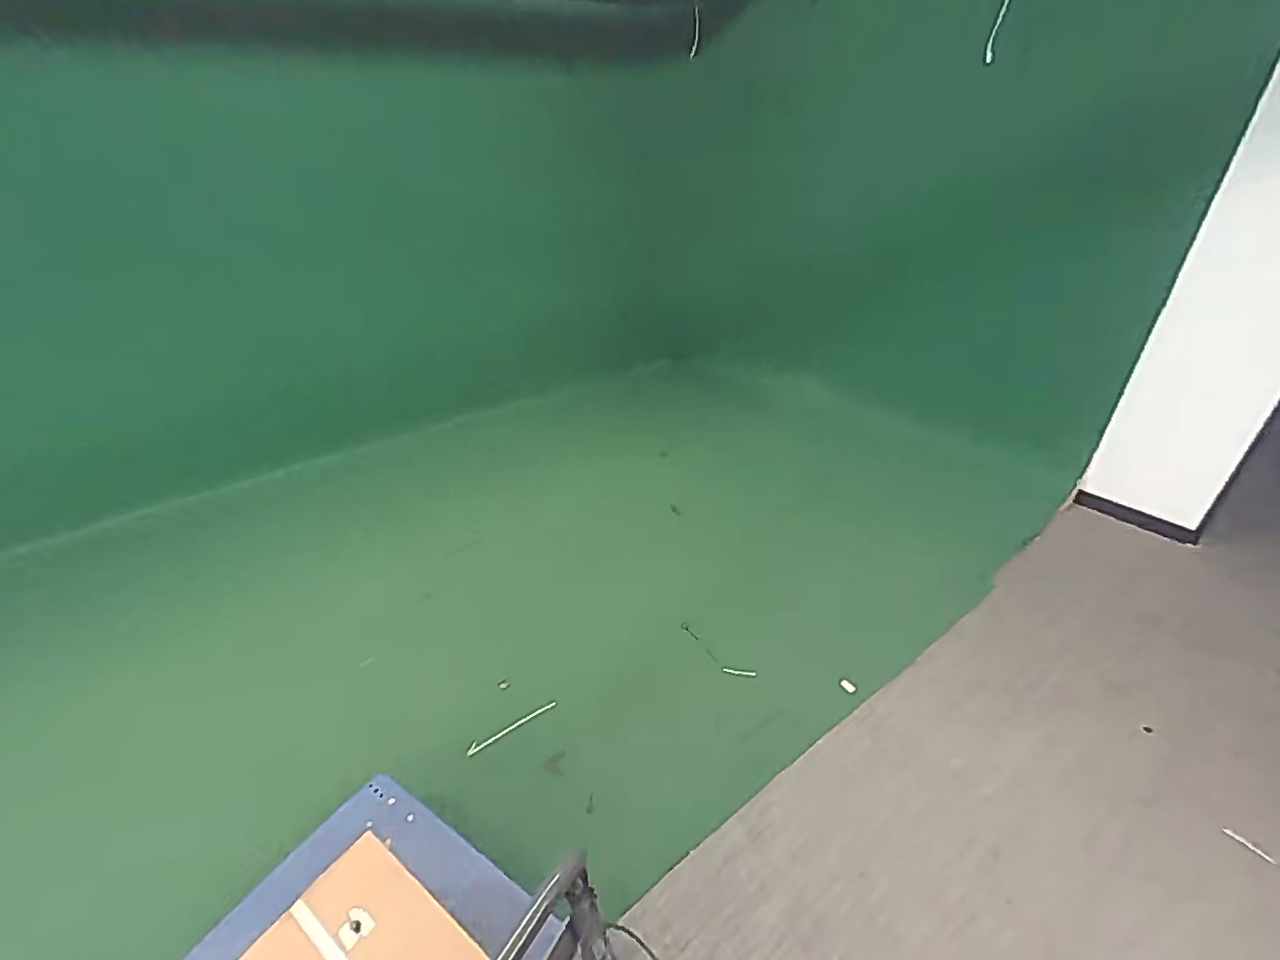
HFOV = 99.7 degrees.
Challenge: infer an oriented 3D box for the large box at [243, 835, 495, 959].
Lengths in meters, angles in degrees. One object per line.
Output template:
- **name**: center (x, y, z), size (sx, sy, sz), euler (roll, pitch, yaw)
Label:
- **large box**: center (-0.475, 0.981, 1.002), size (0.408, 0.320, 0.320), euler (18, 38, 31)
